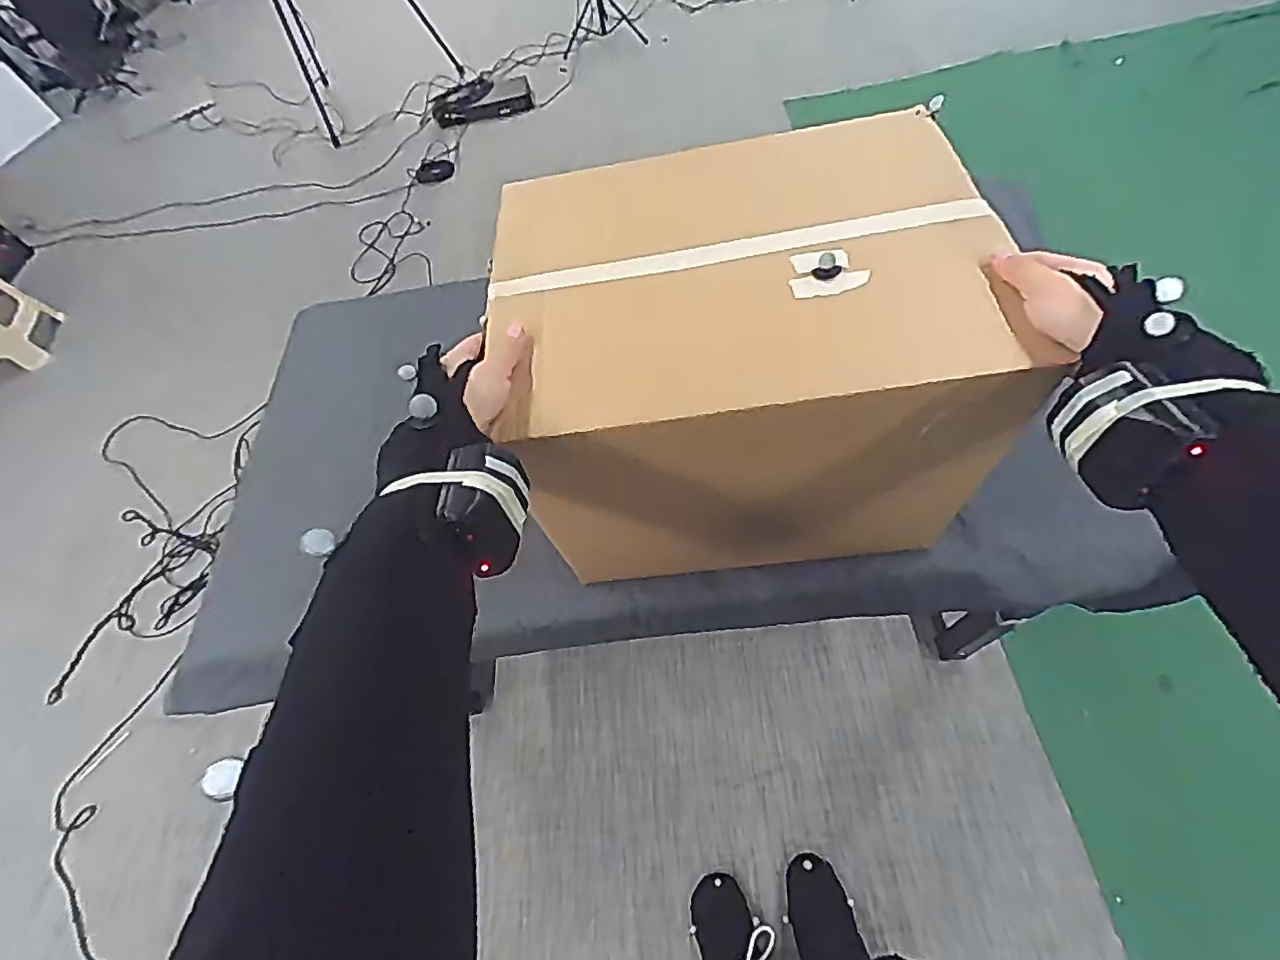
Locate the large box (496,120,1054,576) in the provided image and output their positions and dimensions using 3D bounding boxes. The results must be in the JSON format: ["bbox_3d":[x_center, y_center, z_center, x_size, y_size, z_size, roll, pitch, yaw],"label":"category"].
[{"bbox_3d":[0.095,-0.113,0.583,0.408,0.320,0.320,-8,60,5],"label":"large box"}]
